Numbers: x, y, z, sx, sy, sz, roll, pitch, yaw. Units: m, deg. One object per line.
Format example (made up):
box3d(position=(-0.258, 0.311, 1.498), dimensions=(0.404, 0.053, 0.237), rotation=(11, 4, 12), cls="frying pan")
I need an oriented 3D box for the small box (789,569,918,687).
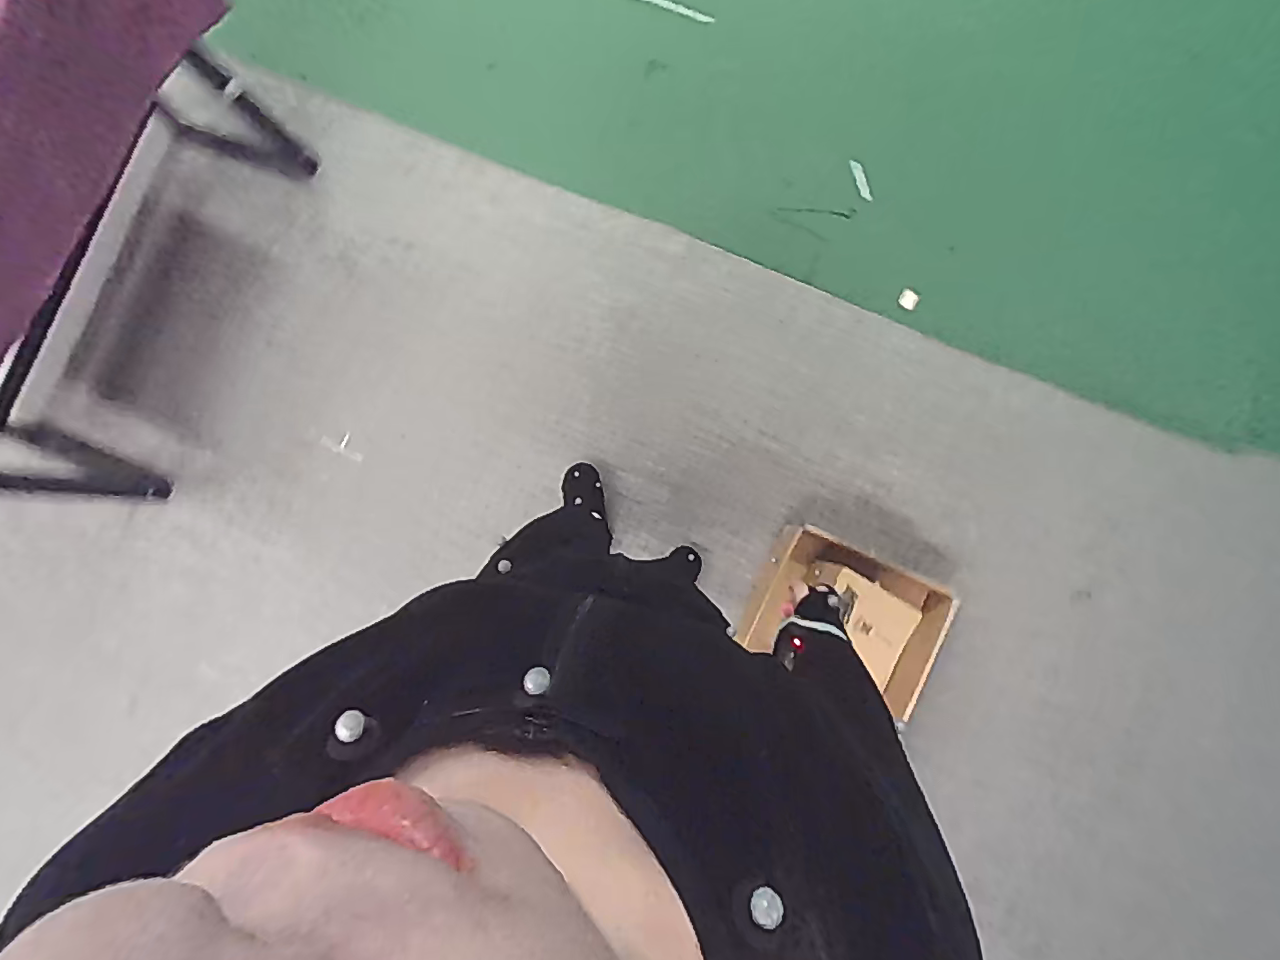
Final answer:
box3d(position=(0.441, 0.304, 1.154), dimensions=(0.179, 0.176, 0.168), rotation=(32, 89, 6), cls="small box")
